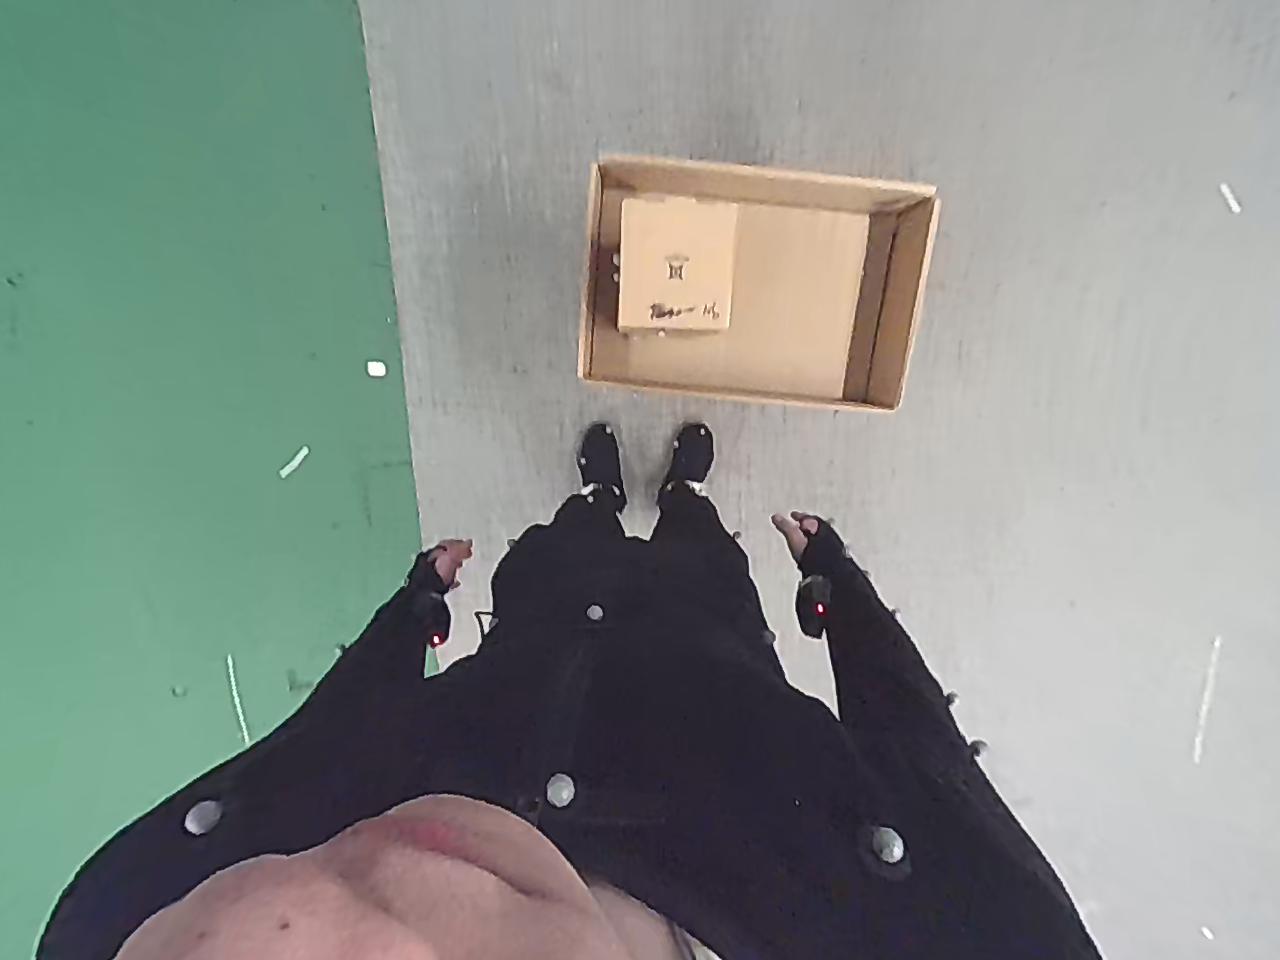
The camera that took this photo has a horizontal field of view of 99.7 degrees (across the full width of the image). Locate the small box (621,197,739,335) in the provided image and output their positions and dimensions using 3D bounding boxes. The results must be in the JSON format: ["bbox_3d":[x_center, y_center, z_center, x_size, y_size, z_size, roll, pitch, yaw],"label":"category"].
[{"bbox_3d":[0.057,-0.331,0.865,0.168,0.176,0.179,3,103,0],"label":"small box"}]
